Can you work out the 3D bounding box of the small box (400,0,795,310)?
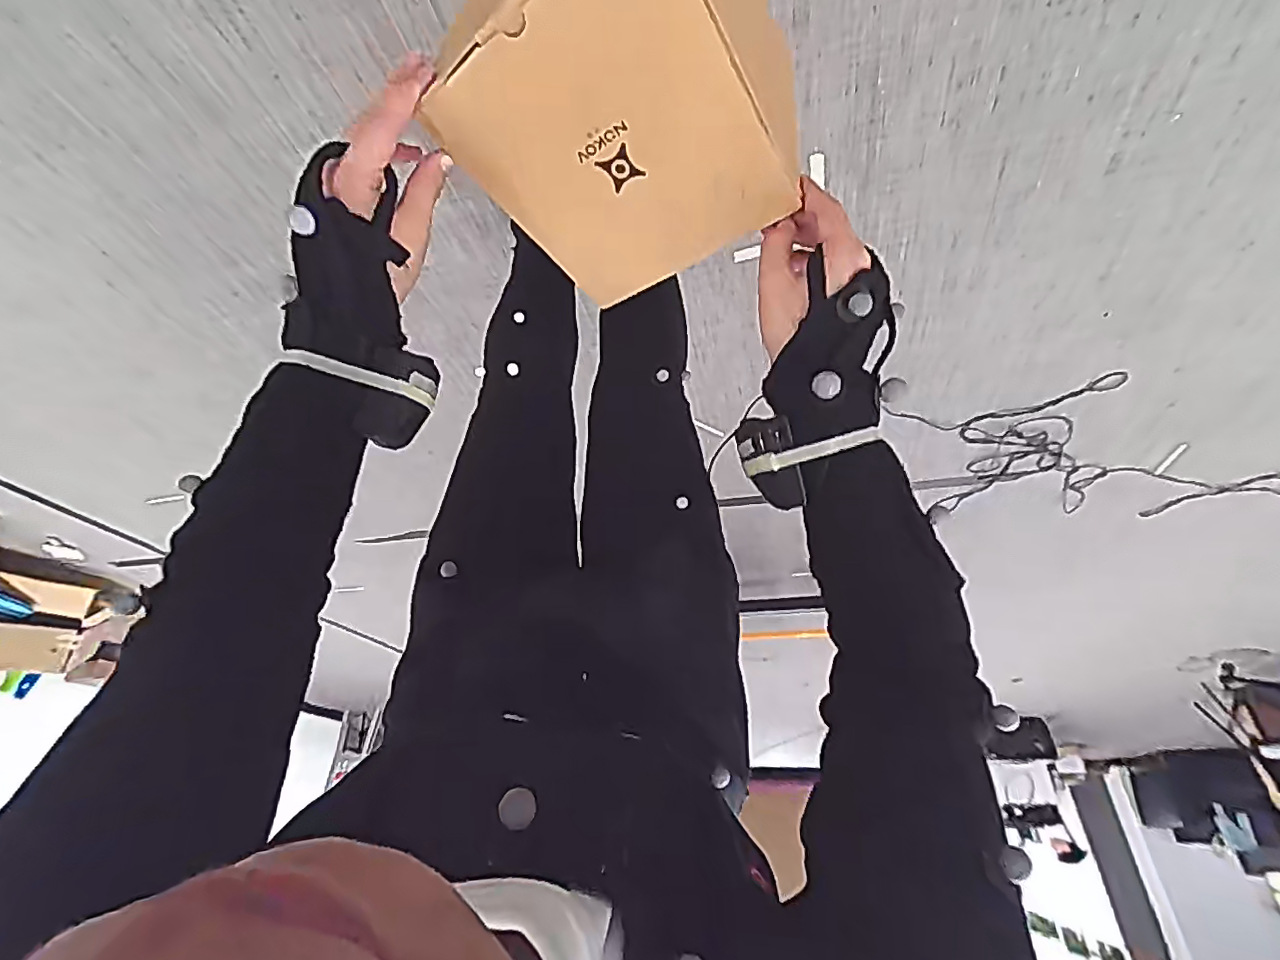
[{"bbox_3d":[-0.010,-0.253,0.349,0.168,0.176,0.179,-15,145,34],"label":"small box"}]
